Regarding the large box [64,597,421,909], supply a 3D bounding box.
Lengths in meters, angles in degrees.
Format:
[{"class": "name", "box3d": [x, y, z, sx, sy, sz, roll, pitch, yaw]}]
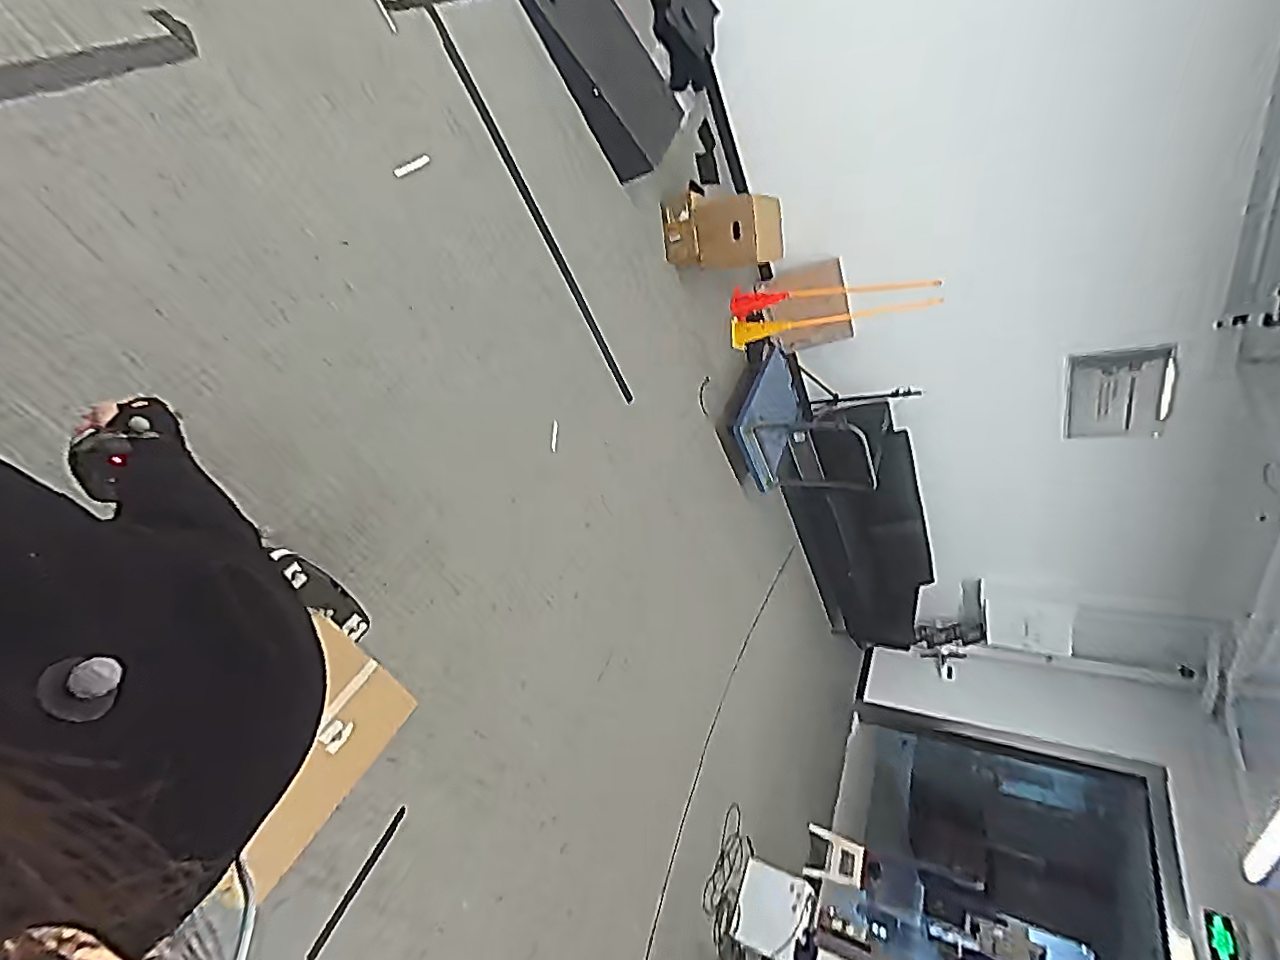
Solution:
[{"class": "large box", "box3d": [-0.731, 0.488, 1.040, 0.408, 0.320, 0.320, -56, 133, -40]}]
